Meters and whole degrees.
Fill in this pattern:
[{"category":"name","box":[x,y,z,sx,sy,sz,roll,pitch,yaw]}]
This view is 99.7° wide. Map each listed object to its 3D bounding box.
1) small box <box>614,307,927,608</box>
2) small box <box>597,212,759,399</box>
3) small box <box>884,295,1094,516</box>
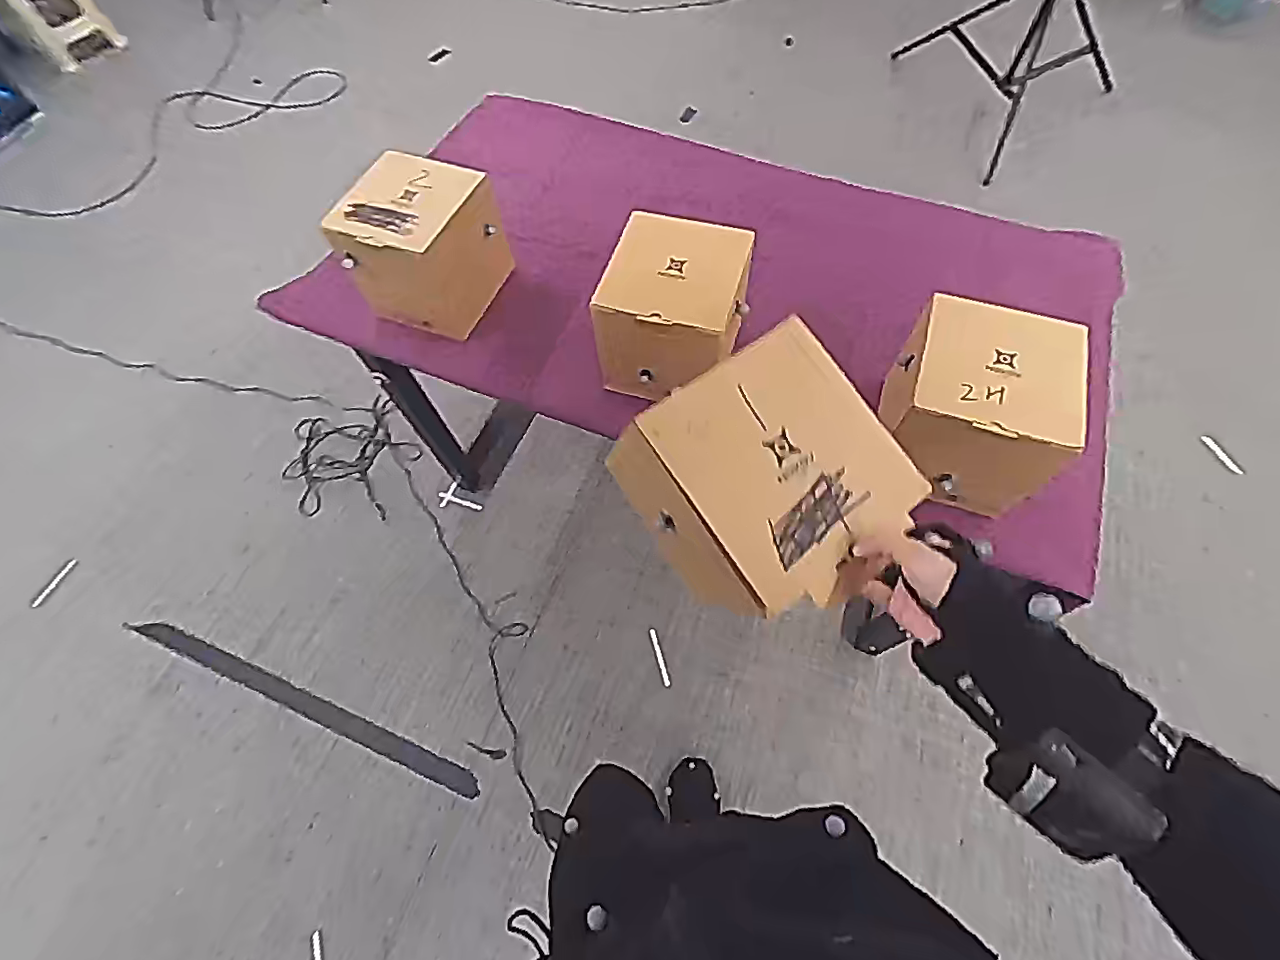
[{"category":"small box","box":[0.096,-0.011,0.478,0.168,0.176,0.179,-34,88,-14]},{"category":"small box","box":[0.051,-0.222,0.735,0.168,0.176,0.179,15,66,9]},{"category":"small box","box":[0.398,-0.084,0.650,0.168,0.176,0.179,18,65,12]}]
